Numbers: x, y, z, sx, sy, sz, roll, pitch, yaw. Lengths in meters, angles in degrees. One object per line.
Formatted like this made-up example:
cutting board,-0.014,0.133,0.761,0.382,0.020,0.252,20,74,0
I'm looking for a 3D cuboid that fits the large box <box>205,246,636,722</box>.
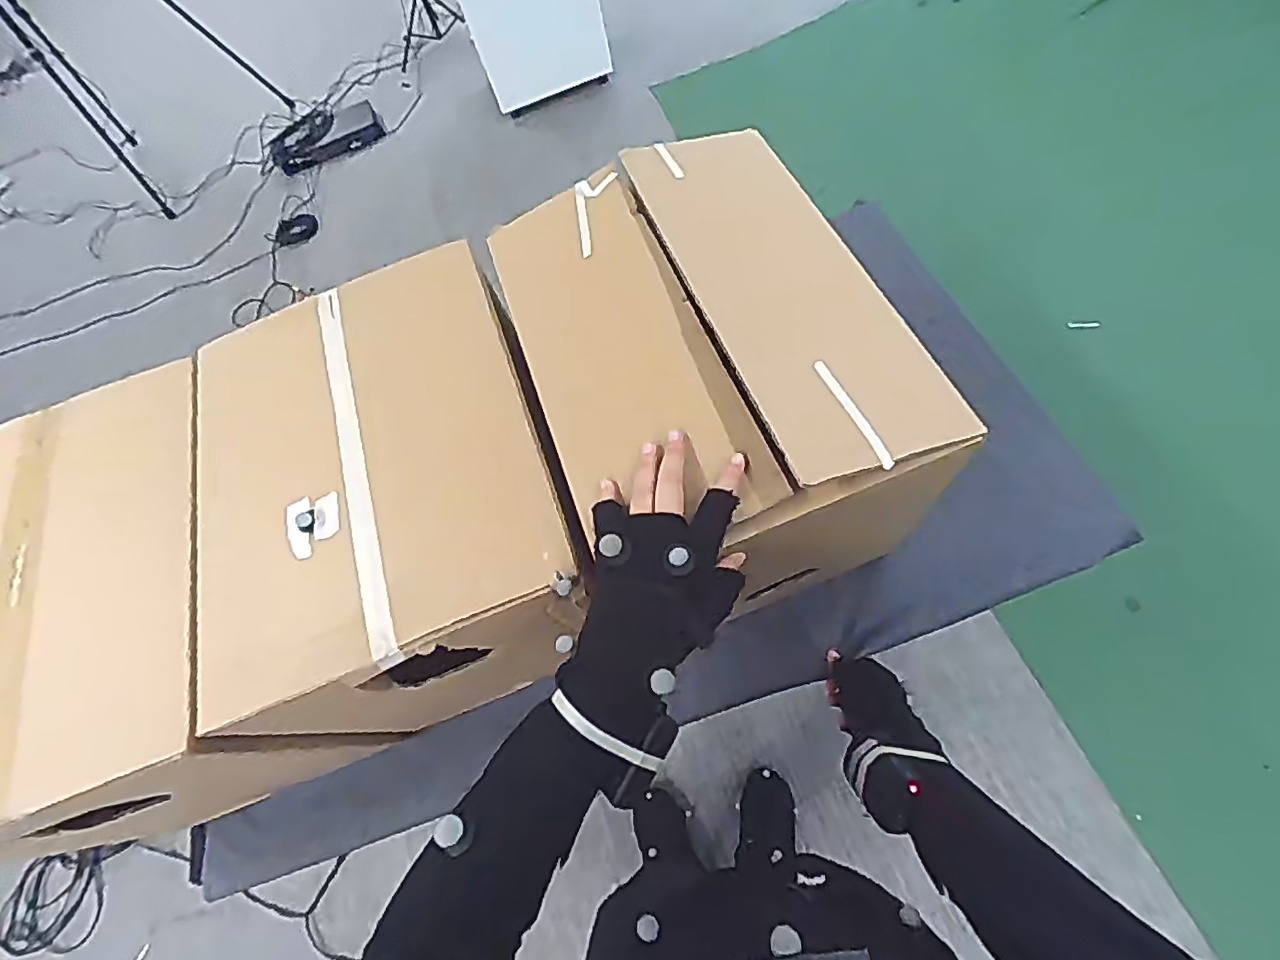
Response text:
large box,-0.232,0.023,0.635,0.320,0.320,0.408,-23,65,0
